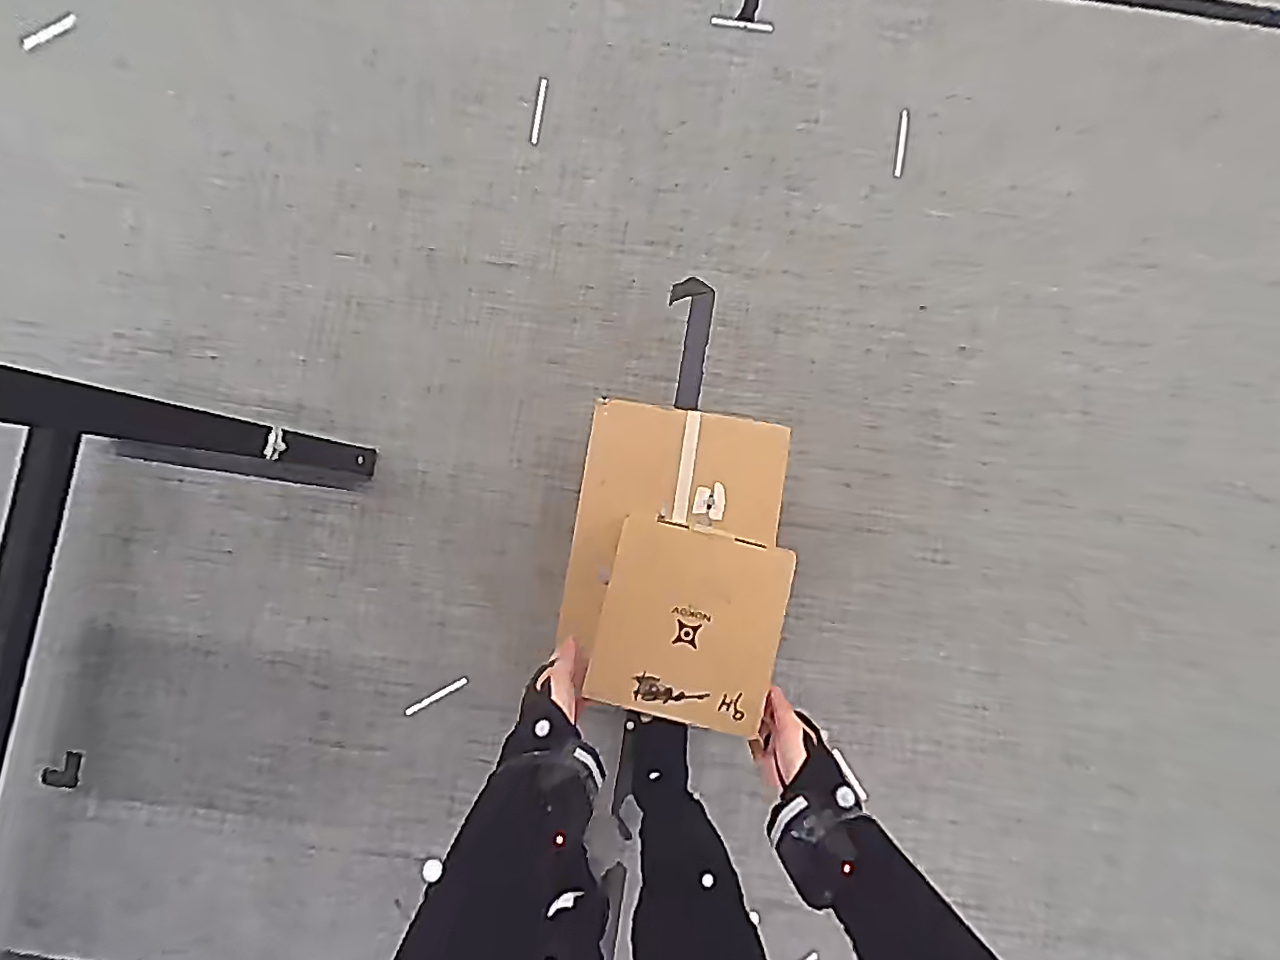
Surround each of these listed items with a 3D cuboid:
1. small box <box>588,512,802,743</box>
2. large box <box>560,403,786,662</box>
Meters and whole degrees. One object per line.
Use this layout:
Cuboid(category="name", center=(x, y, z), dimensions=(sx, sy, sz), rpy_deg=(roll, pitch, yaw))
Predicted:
Cuboid(category="small box", center=(0.051, 0.140, 0.570), dimensions=(0.168, 0.176, 0.179), rpy_deg=(14, 85, 2))
Cuboid(category="large box", center=(0.054, 0.108, 0.982), dimensions=(0.320, 0.320, 0.408), rpy_deg=(9, 85, -1))
